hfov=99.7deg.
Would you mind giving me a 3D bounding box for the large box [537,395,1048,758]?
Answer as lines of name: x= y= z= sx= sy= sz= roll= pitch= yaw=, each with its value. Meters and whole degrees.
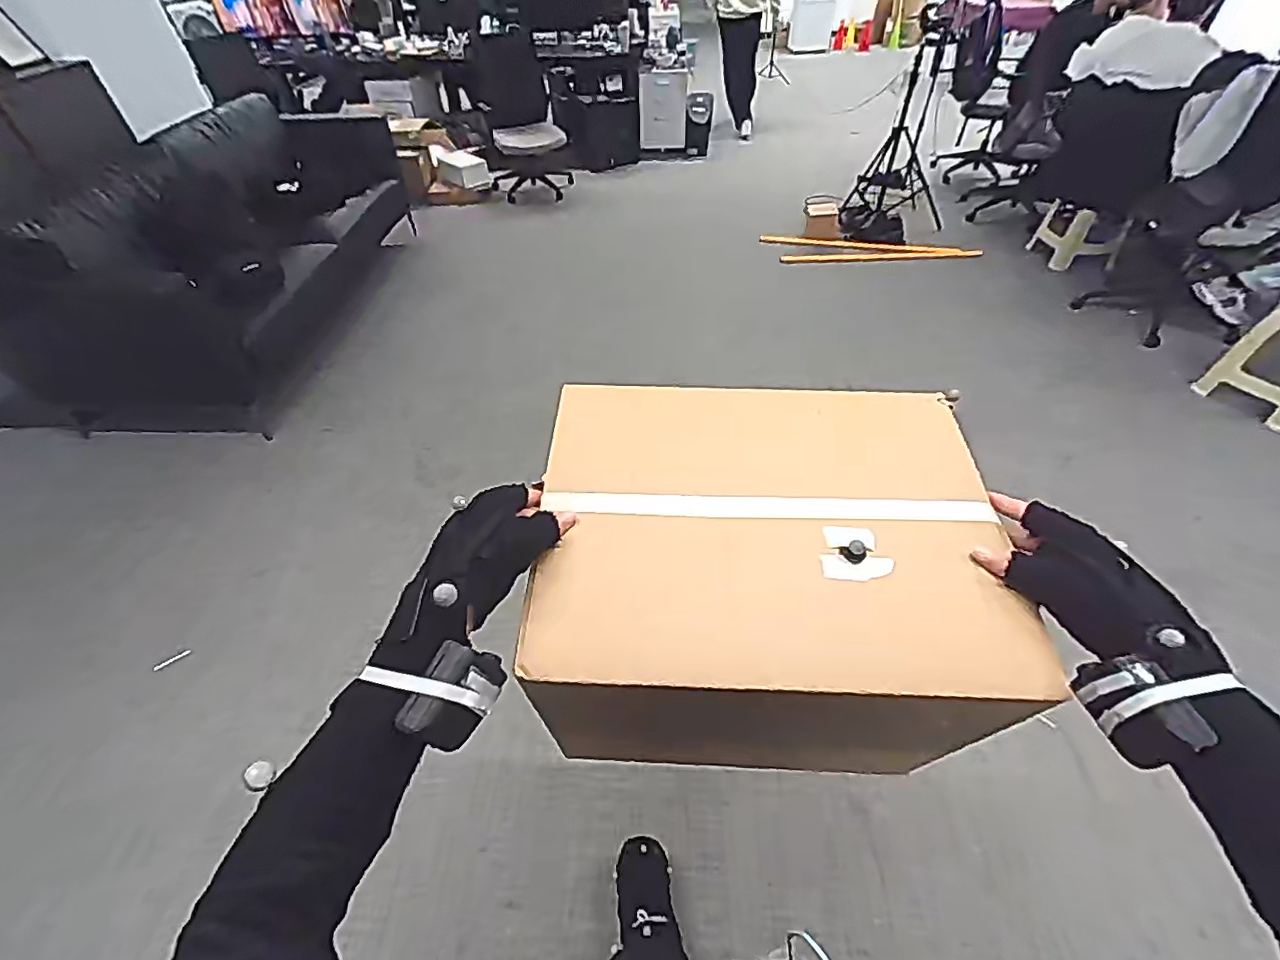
large box: x=0.117 y=0.120 z=0.621 sx=0.408 sy=0.320 sz=0.320 roll=2 pitch=53 yaw=1
